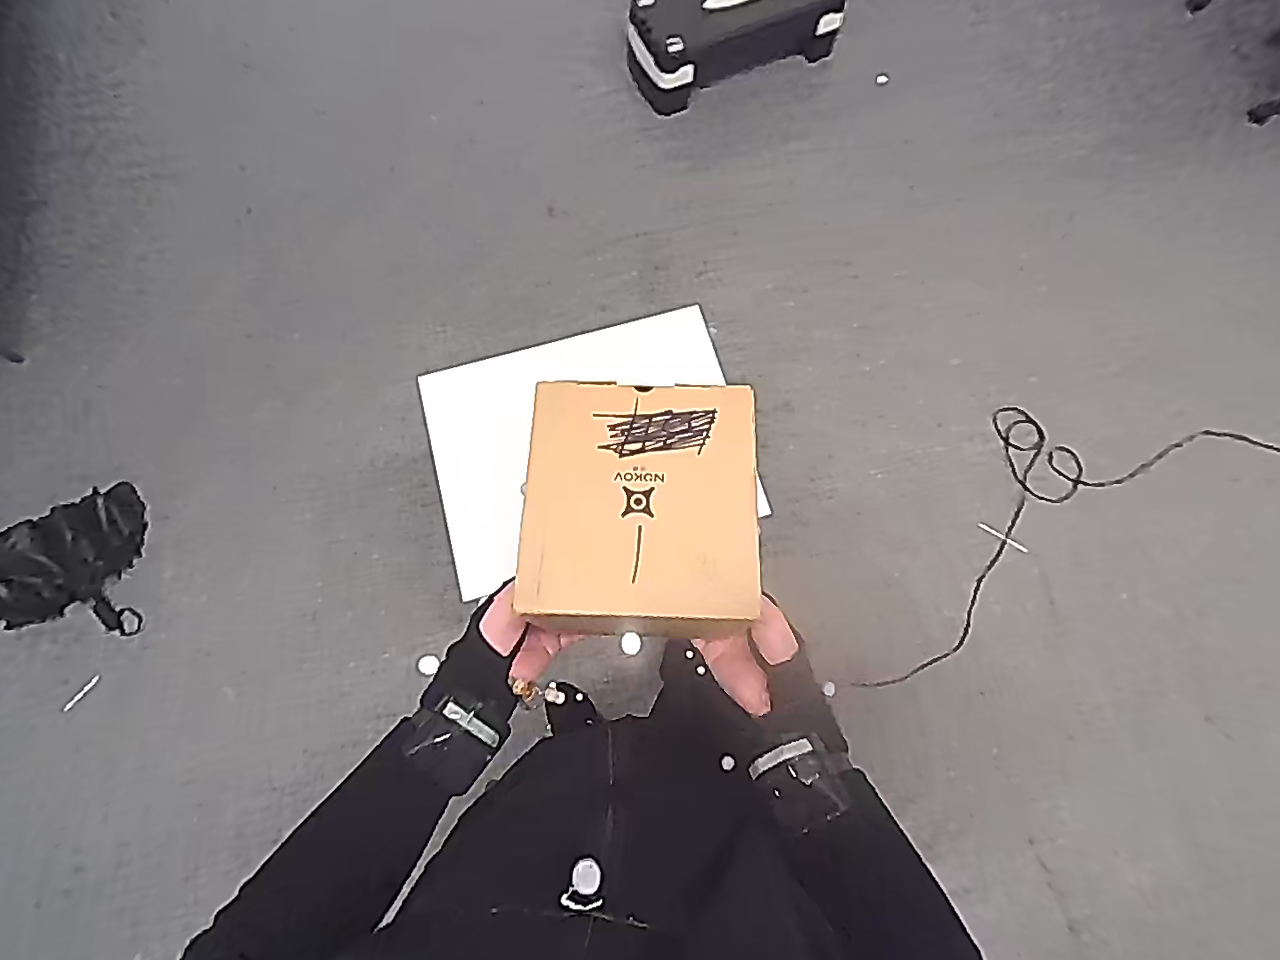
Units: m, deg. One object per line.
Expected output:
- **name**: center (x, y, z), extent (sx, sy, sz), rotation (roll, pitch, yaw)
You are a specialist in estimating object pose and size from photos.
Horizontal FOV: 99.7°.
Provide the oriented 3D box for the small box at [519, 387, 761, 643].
- **small box**: center (0.004, 0.039, 0.466), extent (0.168, 0.176, 0.179), rotation (1, 69, 2)
